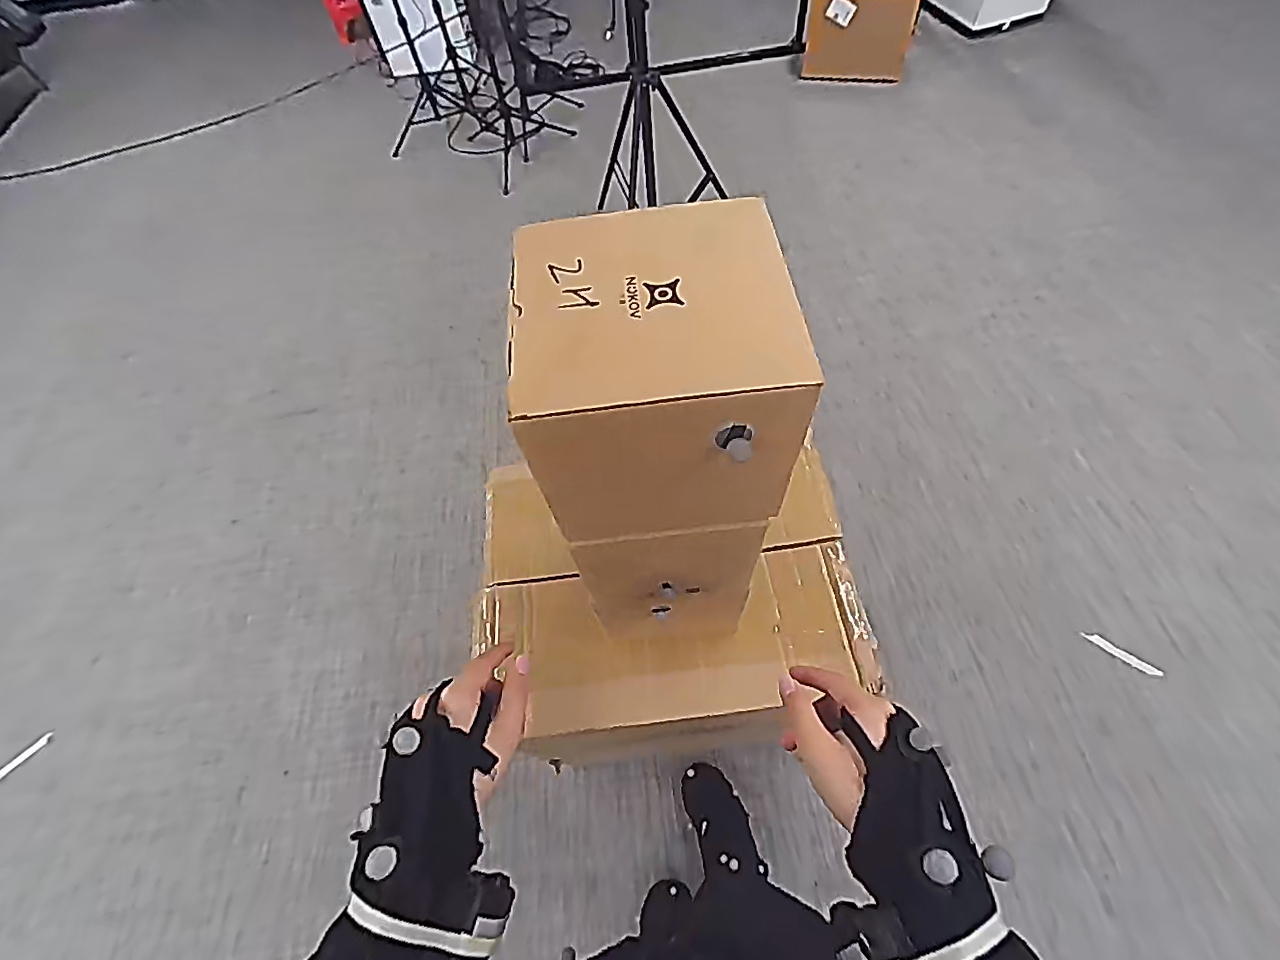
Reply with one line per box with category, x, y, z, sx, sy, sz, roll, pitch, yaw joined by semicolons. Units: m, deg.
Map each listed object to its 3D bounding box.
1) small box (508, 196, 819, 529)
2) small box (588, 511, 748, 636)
small box;0.012;-0.076;0.405;0.179;0.176;0.168;-7;60;1
small box;0.032;0.091;0.688;0.179;0.176;0.168;-6;60;1
